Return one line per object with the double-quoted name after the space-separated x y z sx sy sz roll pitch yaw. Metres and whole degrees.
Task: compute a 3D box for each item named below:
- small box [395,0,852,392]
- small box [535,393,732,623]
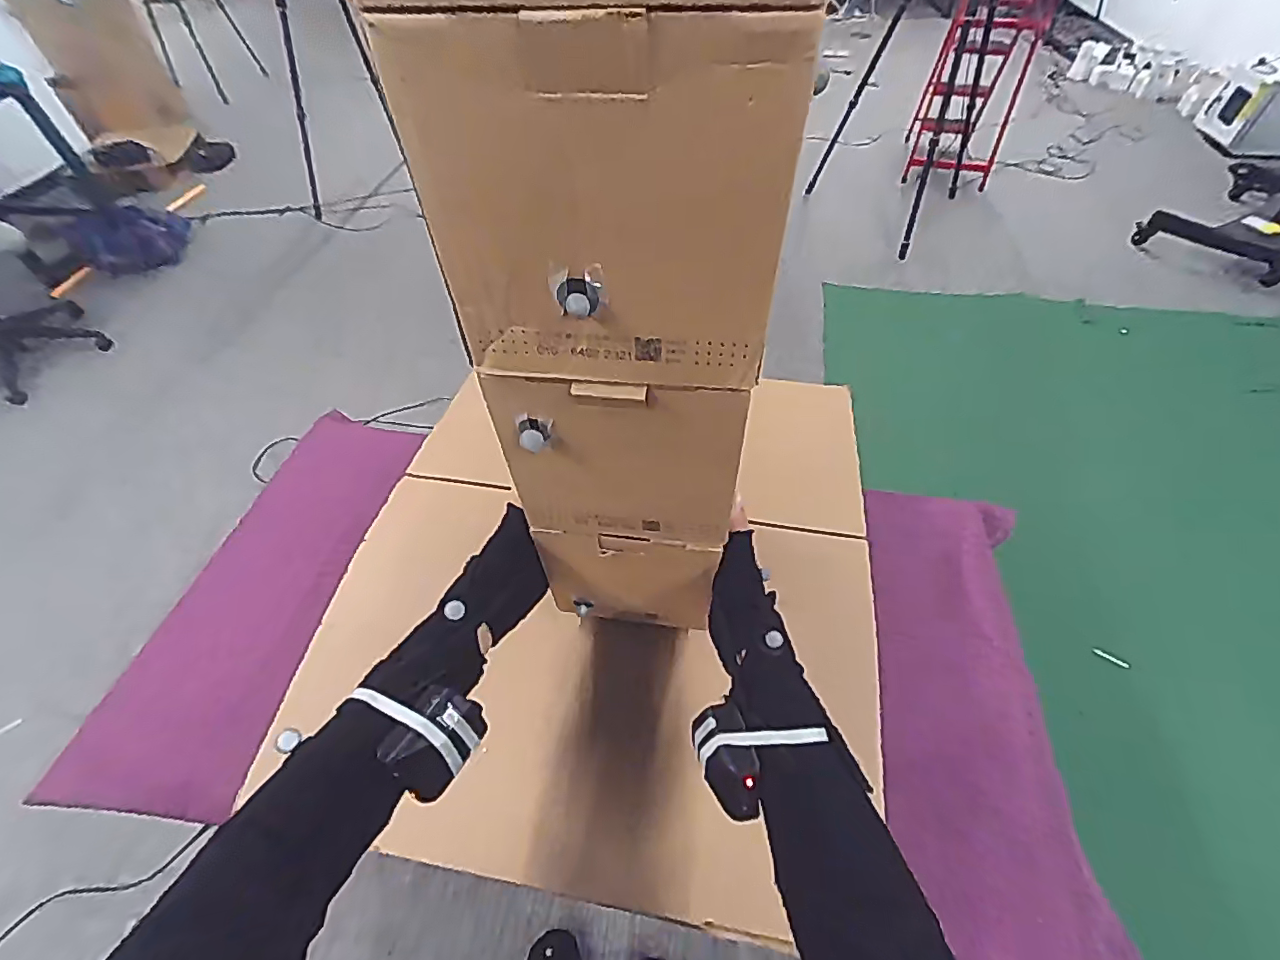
0.001 -0.174 0.301 0.168 0.176 0.179 4 52 4 "small box"
0.004 0.033 0.555 0.168 0.176 0.179 3 54 5 "small box"
